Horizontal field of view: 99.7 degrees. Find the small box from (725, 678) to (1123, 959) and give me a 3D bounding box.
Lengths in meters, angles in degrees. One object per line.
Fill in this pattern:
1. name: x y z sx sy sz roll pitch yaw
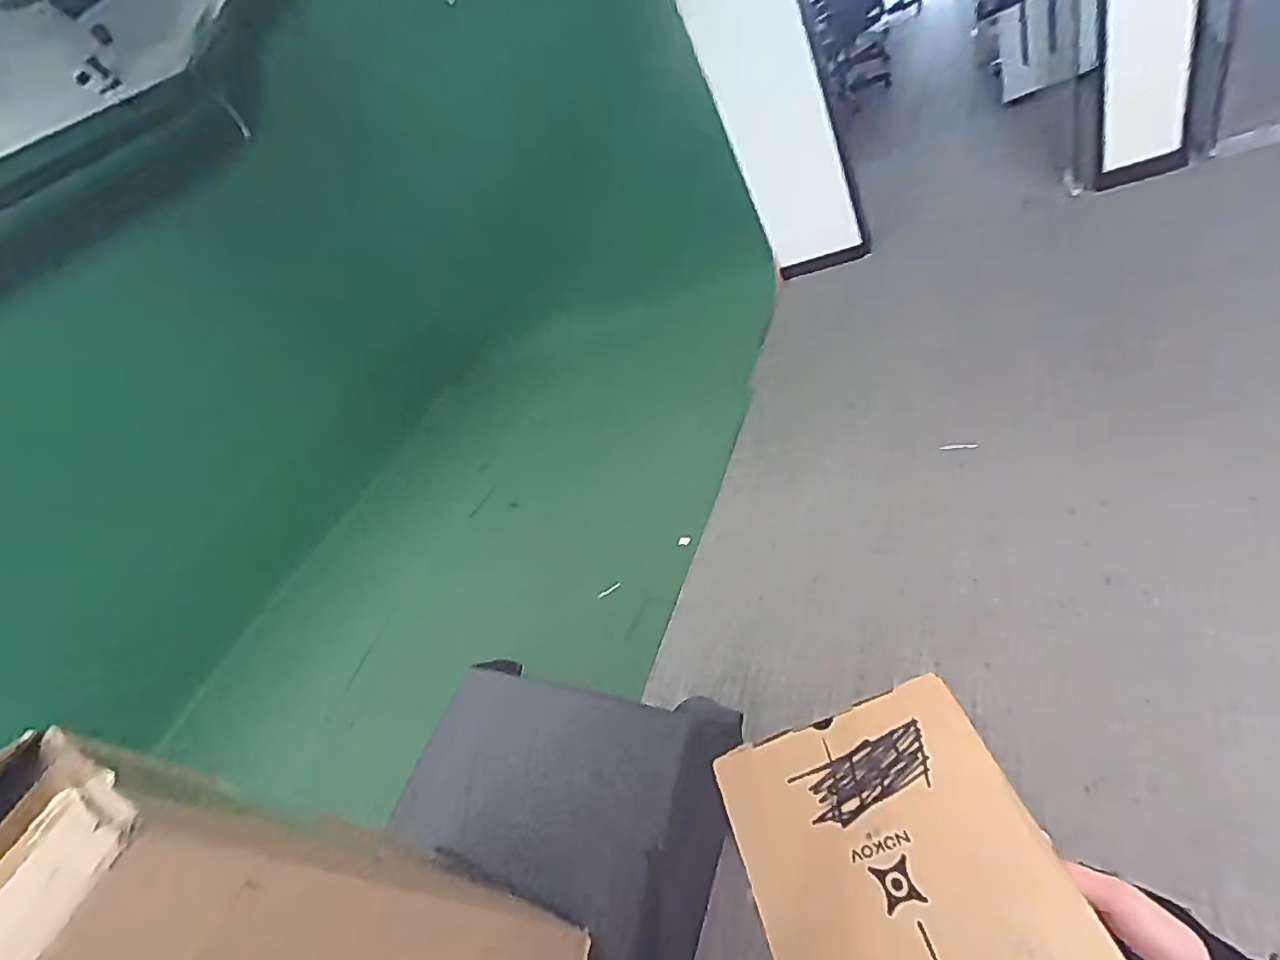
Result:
1. small box: 0.178 0.271 0.373 0.168 0.176 0.179 -25 47 8
